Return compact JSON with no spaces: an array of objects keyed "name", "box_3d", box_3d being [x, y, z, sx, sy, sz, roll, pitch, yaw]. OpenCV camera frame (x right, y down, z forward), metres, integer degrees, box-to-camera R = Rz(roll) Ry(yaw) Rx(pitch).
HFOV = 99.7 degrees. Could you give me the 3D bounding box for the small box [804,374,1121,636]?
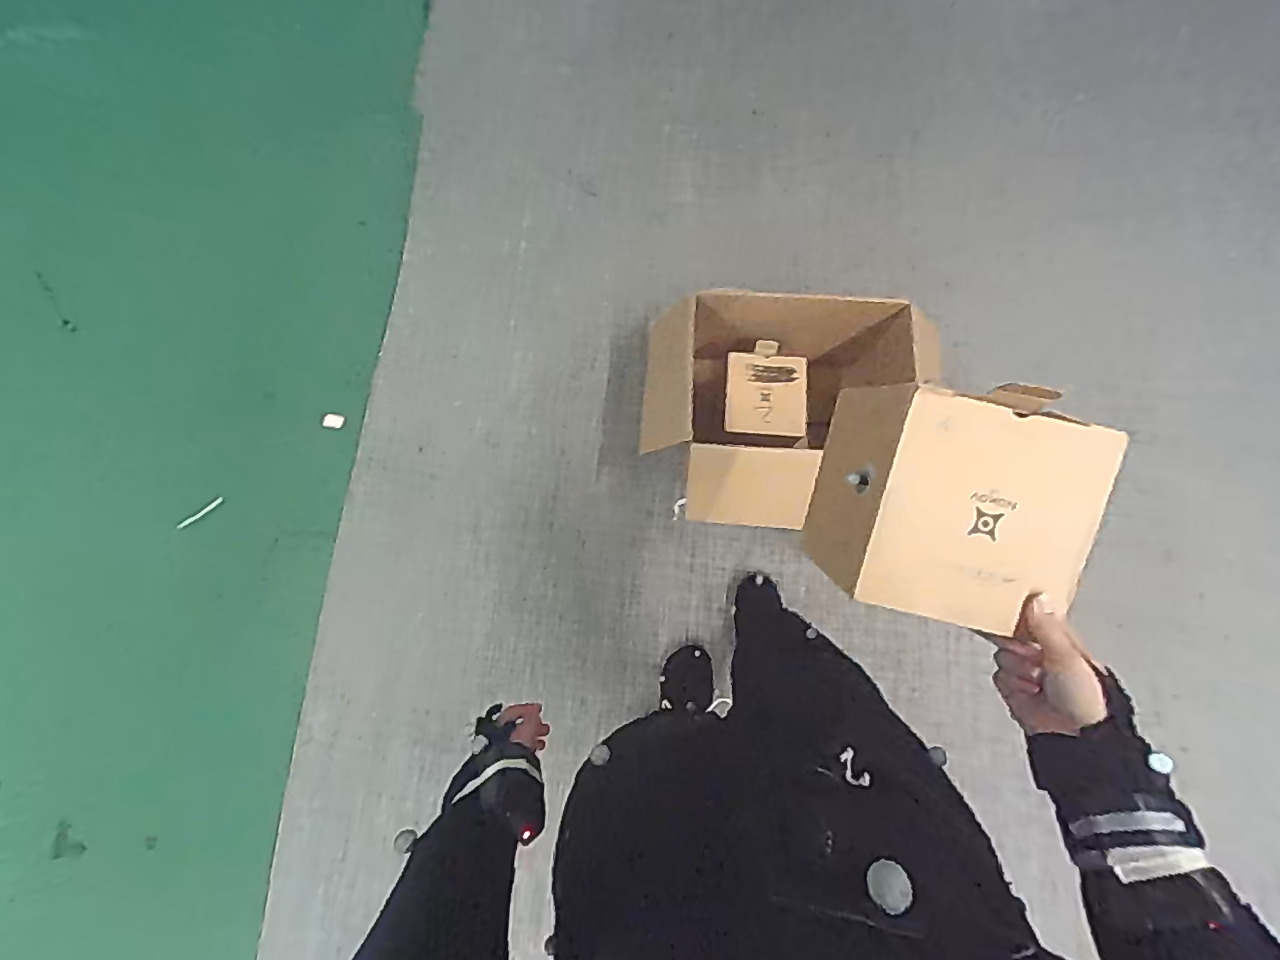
[{"name":"small box","box_3d":[0.265,0.012,0.493,0.168,0.176,0.179,13,98,1]}]
